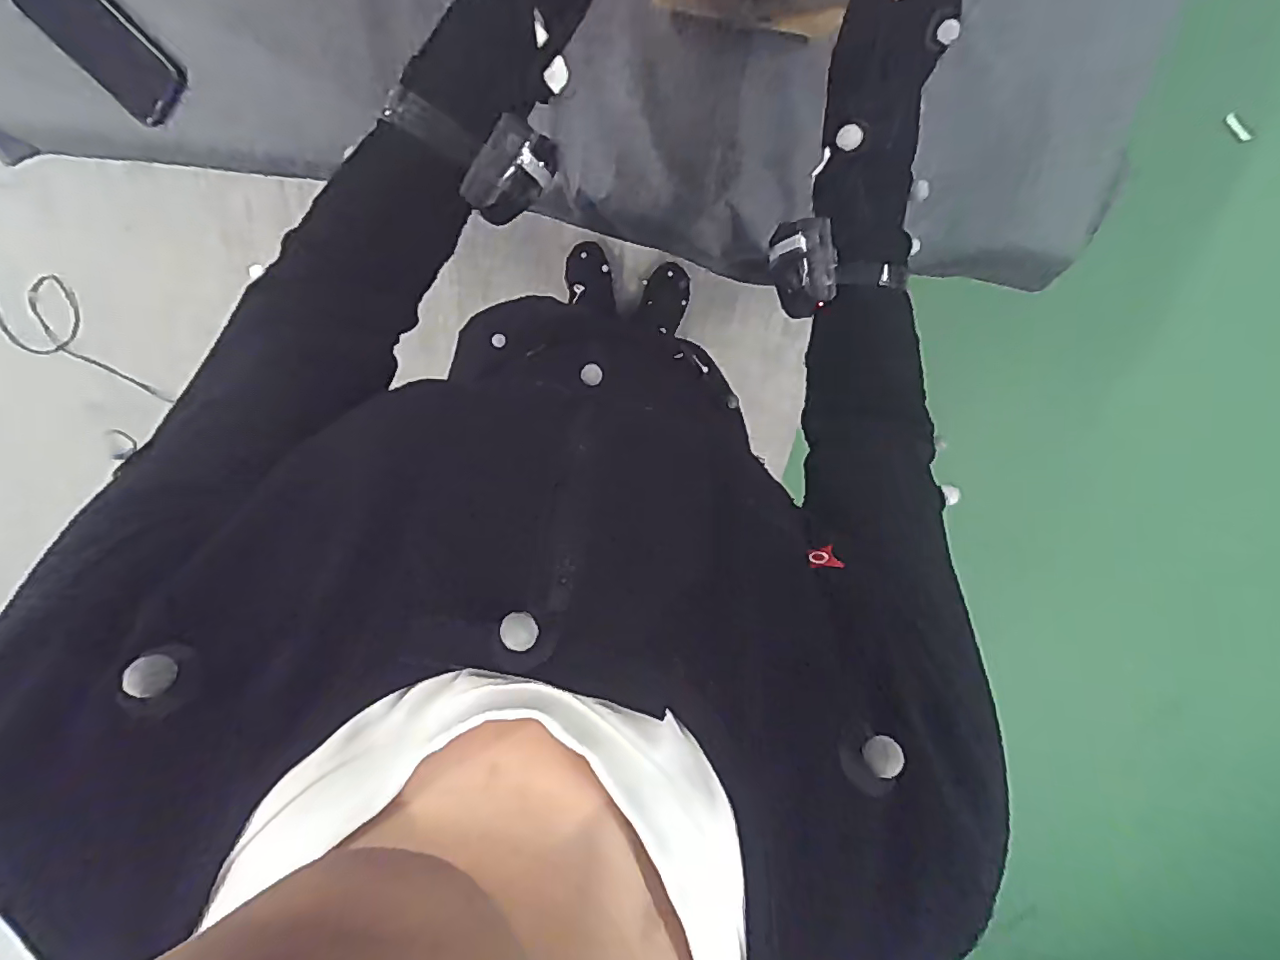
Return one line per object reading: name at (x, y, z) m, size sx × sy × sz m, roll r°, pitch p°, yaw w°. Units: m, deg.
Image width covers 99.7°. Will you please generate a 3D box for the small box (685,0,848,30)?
small box at (0.105, -0.467, 0.394) m, size 0.168 × 0.176 × 0.179 m, roll 10°, pitch 117°, yaw -1°
